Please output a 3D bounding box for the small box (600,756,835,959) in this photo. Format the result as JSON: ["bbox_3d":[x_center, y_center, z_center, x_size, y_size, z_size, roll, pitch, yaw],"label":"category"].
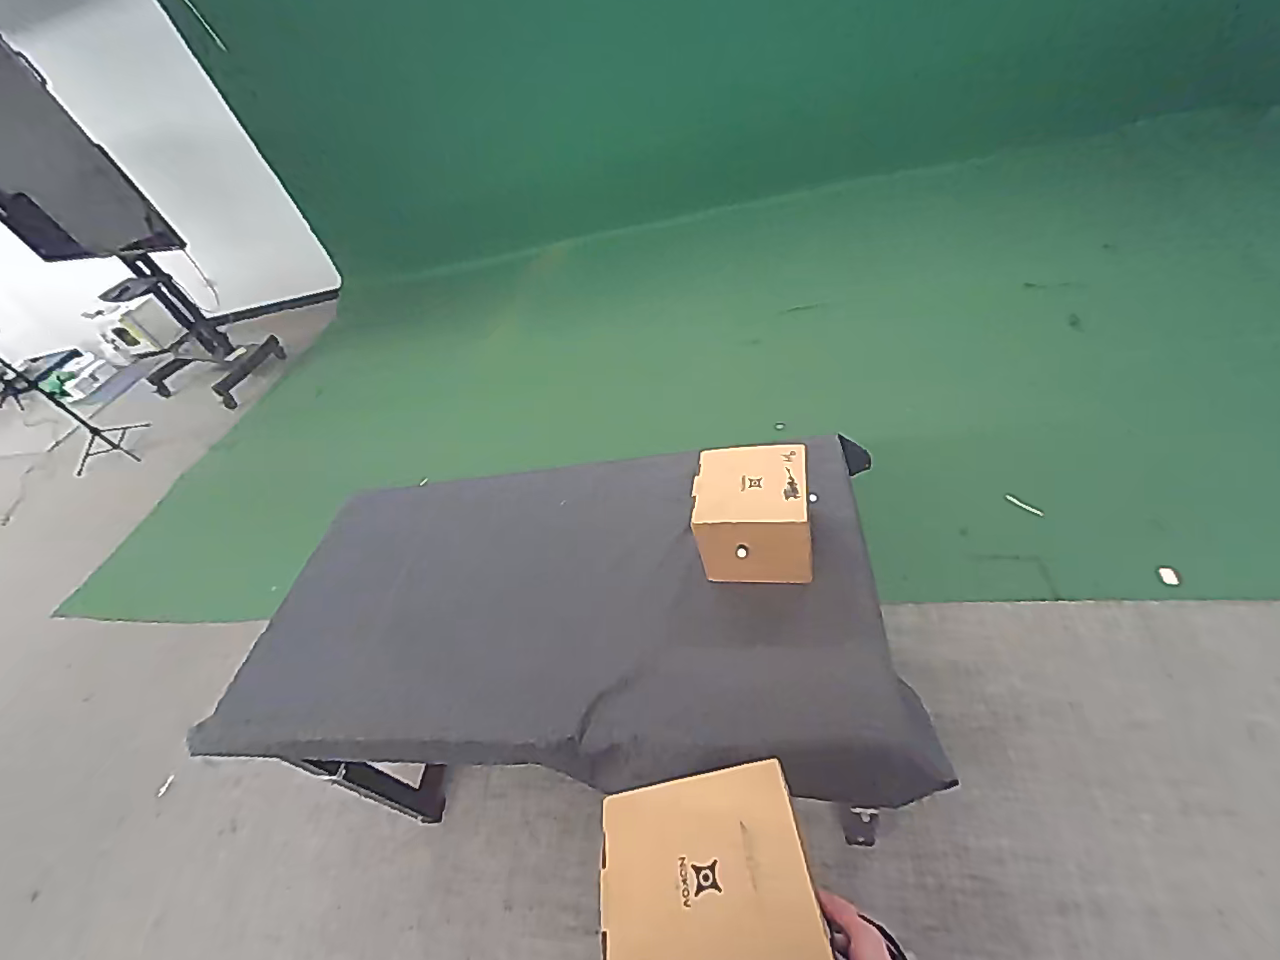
[{"bbox_3d":[0.072,0.390,0.497,0.179,0.176,0.168,-15,36,6],"label":"small box"}]

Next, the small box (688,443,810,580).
[{"bbox_3d":[0.193,0.058,0.921,0.179,0.176,0.168,-3,48,18],"label":"small box"}]
